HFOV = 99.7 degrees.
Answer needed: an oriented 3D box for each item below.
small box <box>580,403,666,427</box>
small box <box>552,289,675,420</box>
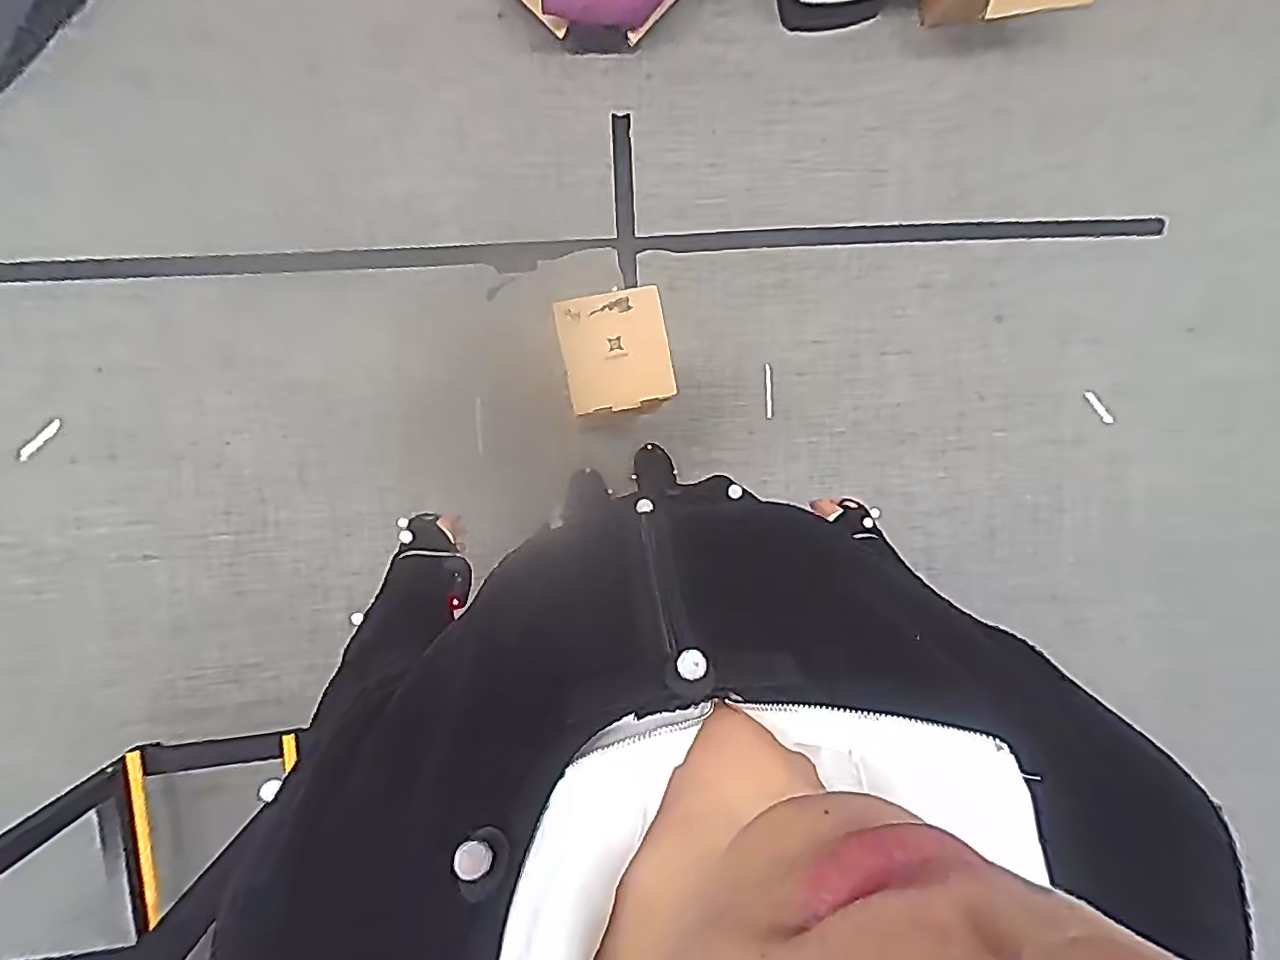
[{"bbox_3d":[-0.053,-0.206,1.070,0.168,0.176,0.179,-12,95,-3],"label":"small box"},{"bbox_3d":[-0.043,-0.201,0.907,0.168,0.176,0.179,-12,96,-4],"label":"small box"}]
